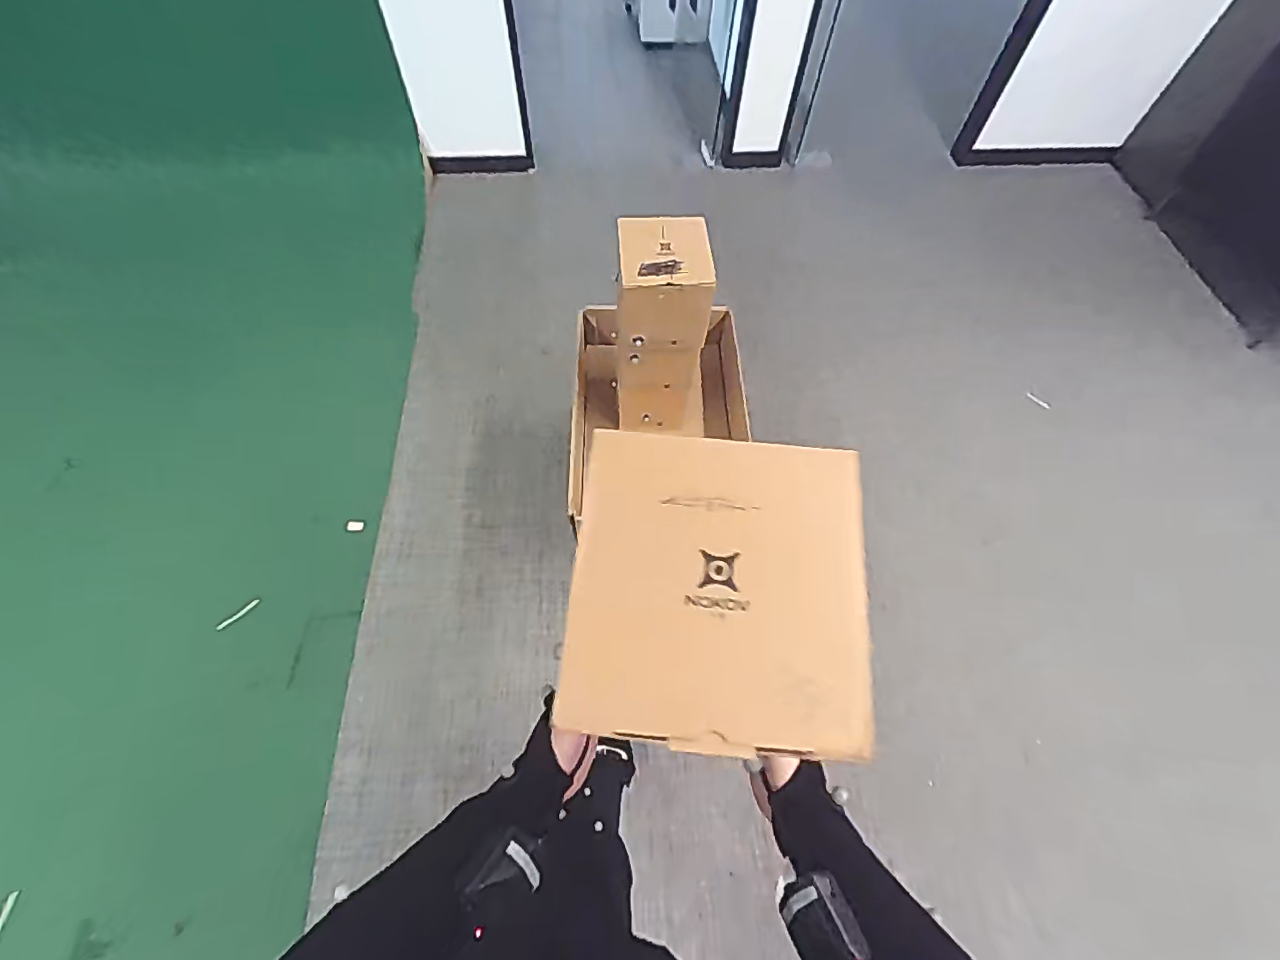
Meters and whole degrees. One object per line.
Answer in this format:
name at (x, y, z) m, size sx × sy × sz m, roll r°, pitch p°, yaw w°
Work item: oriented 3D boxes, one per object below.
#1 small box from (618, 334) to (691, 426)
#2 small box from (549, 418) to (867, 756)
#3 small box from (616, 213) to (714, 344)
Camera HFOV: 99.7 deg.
small box at (0.030, -0.246, 1.326) m, size 0.168 × 0.176 × 0.179 m, roll -1°, pitch 64°, yaw -2°
small box at (0.044, 0.078, 0.378) m, size 0.168 × 0.176 × 0.179 m, roll 6°, pitch 68°, yaw 2°
small box at (0.041, -0.372, 1.022) m, size 0.168 × 0.176 × 0.179 m, roll -3°, pitch 63°, yaw -3°
